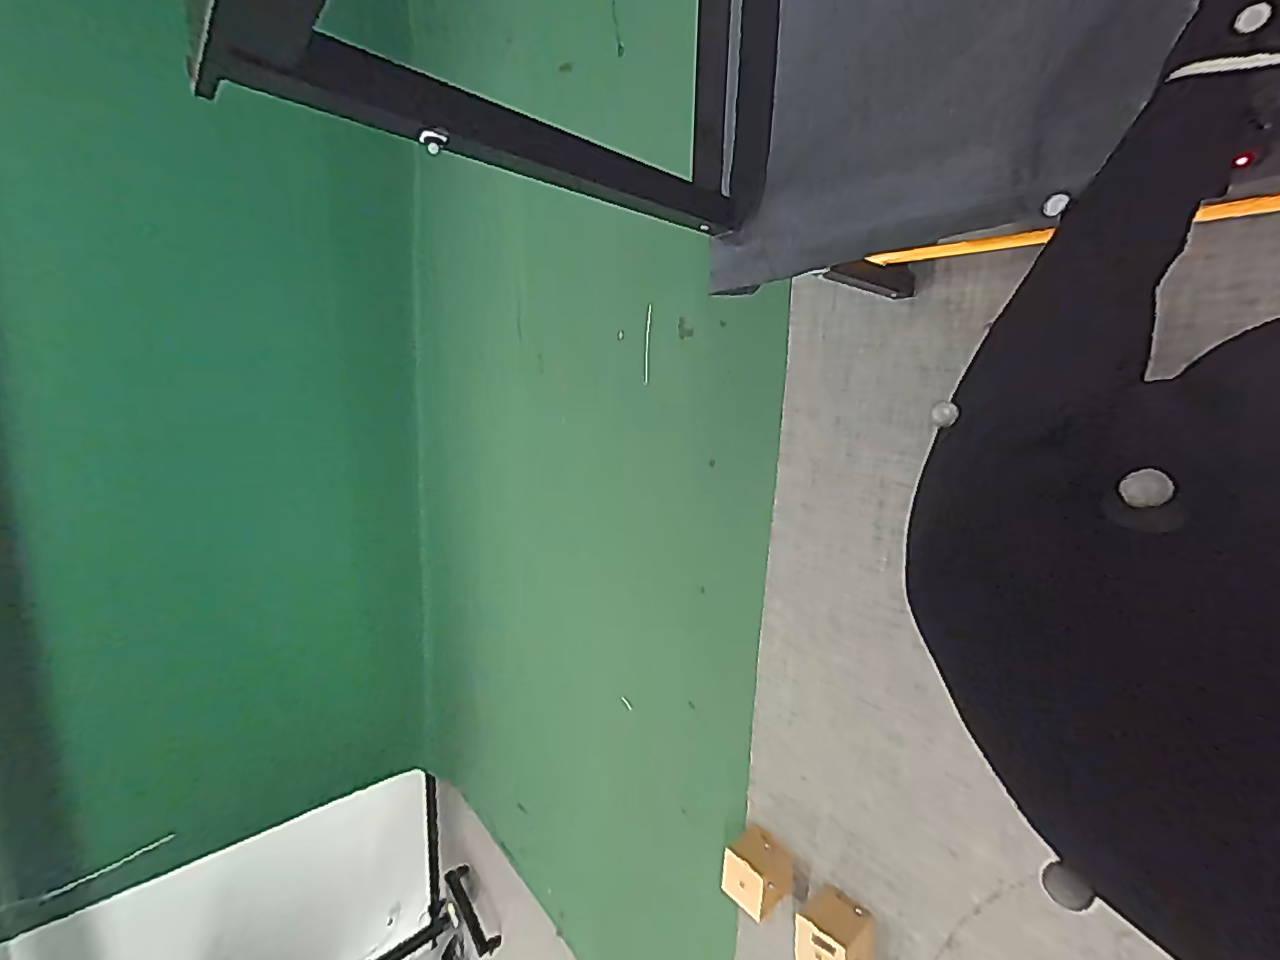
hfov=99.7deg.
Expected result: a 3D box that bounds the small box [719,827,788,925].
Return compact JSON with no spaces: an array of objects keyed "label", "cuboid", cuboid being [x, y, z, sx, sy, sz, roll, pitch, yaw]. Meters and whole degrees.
[{"label":"small box","cuboid":[0.395,1.366,1.879,0.168,0.176,0.179,13,104,46]}]

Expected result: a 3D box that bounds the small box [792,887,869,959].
[{"label":"small box","cuboid":[0.589,1.420,1.666,0.168,0.176,0.179,8,101,48]}]
